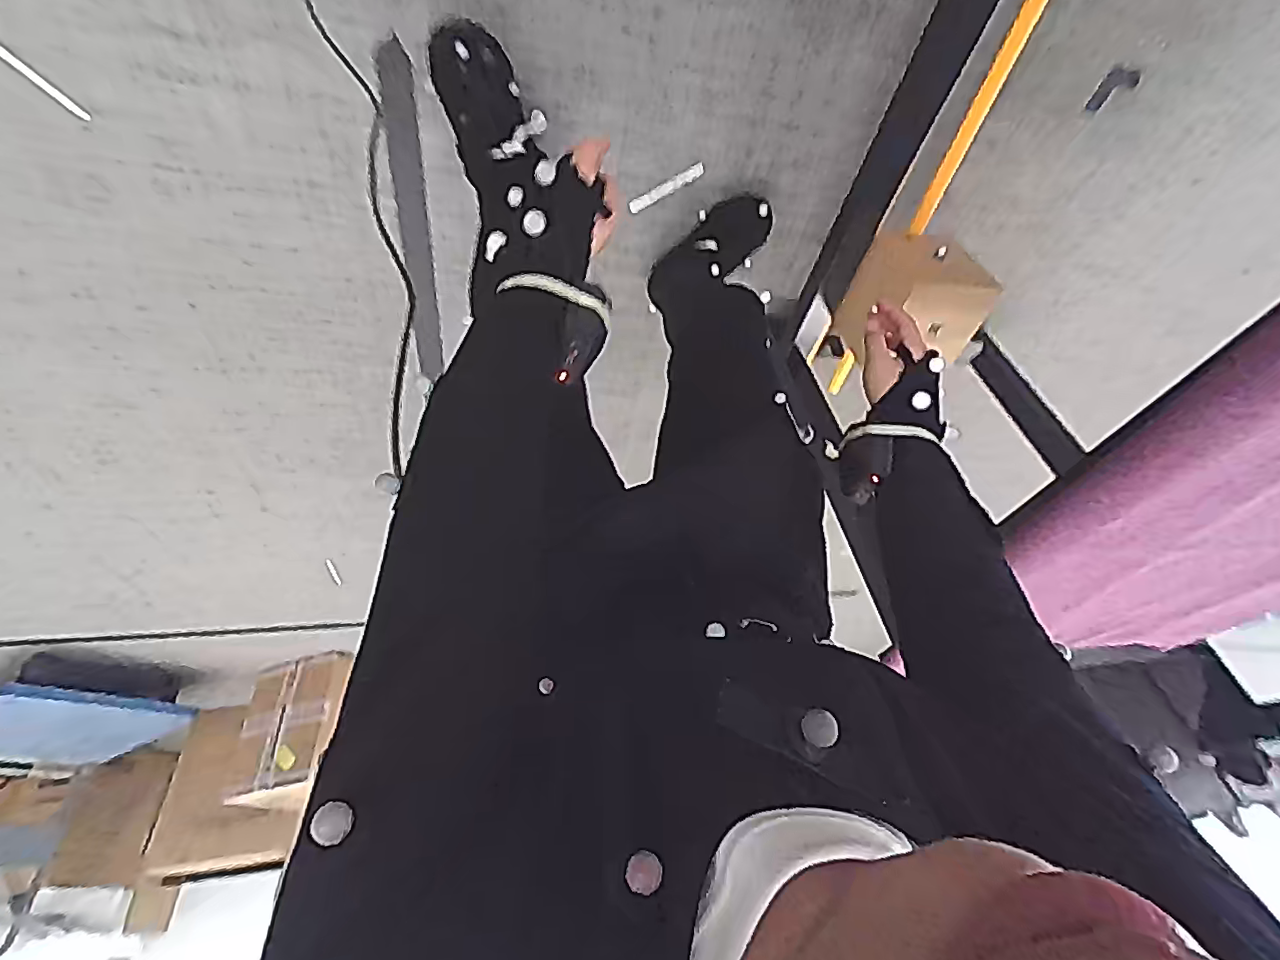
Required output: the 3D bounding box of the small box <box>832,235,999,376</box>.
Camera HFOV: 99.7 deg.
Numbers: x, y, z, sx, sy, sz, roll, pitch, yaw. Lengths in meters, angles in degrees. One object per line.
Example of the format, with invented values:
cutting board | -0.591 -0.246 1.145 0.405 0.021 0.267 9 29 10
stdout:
small box | 0.464 -0.305 0.947 0.168 0.176 0.179 0 141 -12
